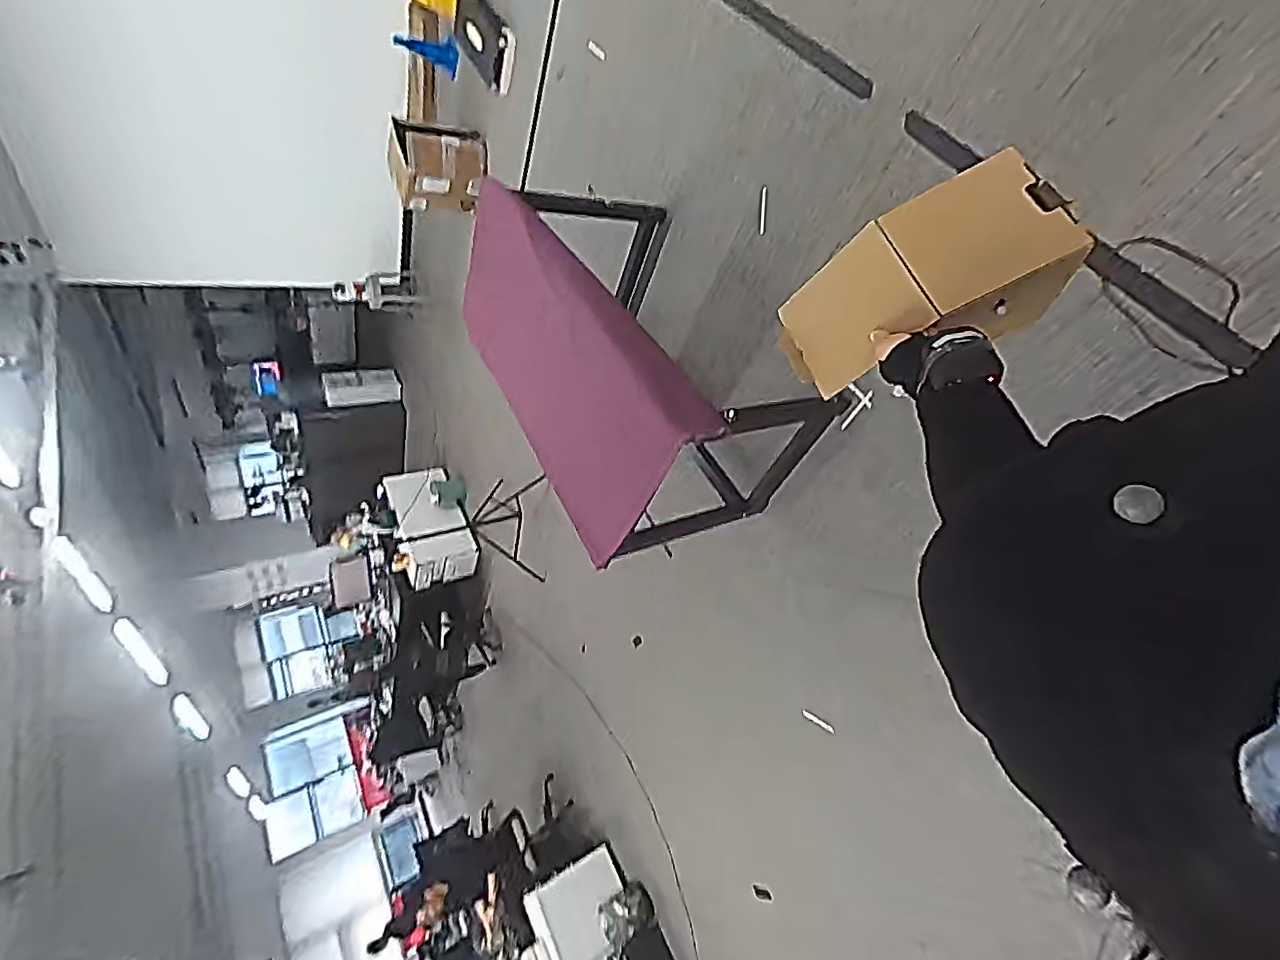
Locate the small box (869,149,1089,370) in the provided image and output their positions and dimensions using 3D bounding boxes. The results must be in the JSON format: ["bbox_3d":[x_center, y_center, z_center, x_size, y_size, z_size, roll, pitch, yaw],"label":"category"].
[{"bbox_3d":[0.424,-0.274,0.714,0.179,0.176,0.168,-26,69,13],"label":"small box"}]
